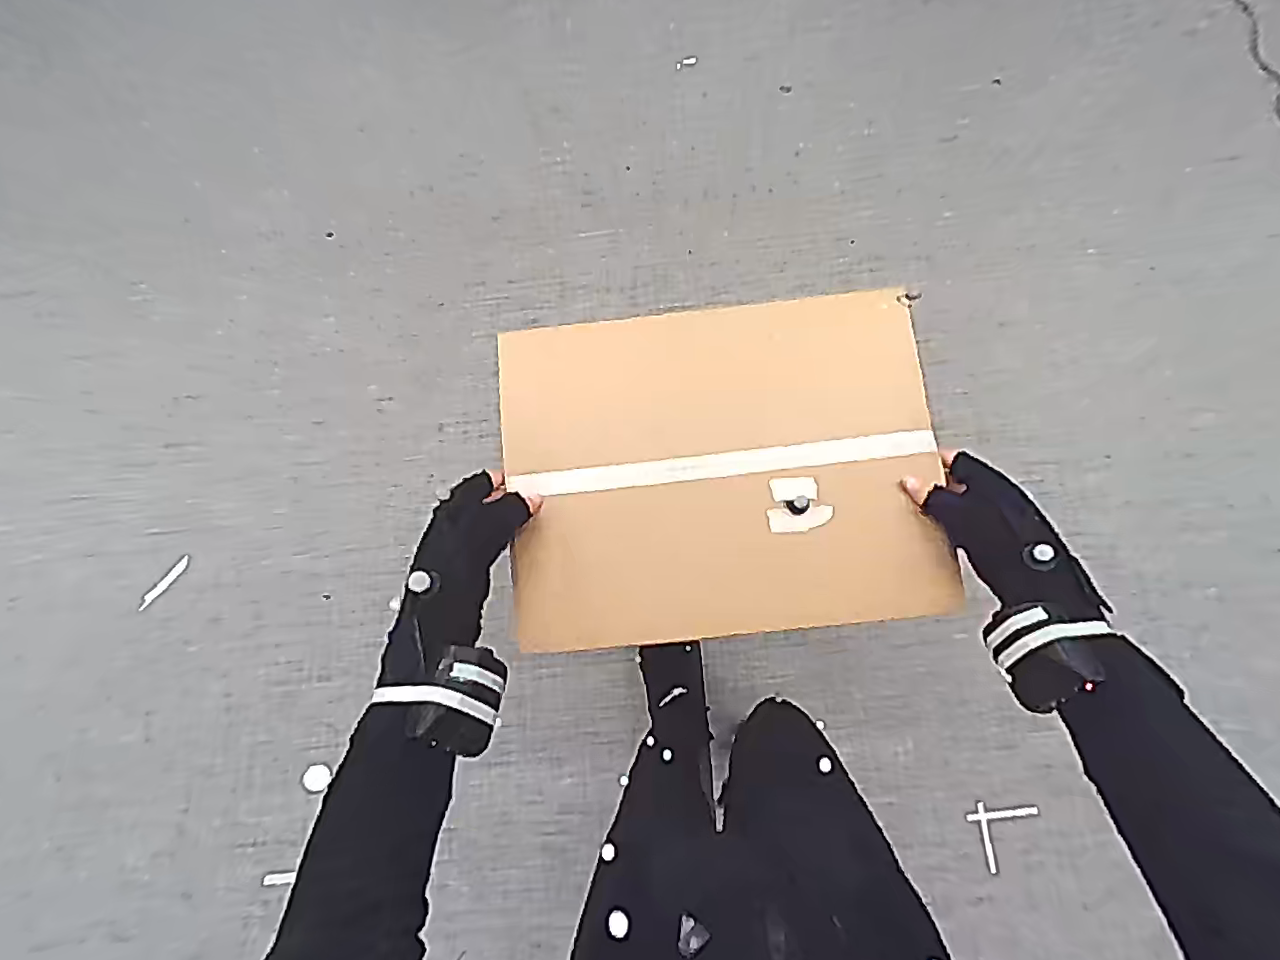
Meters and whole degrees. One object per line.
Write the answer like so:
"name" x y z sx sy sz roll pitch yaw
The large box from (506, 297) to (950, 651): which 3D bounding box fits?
"large box" 0.079 0.011 0.674 0.408 0.320 0.320 -6 81 1
